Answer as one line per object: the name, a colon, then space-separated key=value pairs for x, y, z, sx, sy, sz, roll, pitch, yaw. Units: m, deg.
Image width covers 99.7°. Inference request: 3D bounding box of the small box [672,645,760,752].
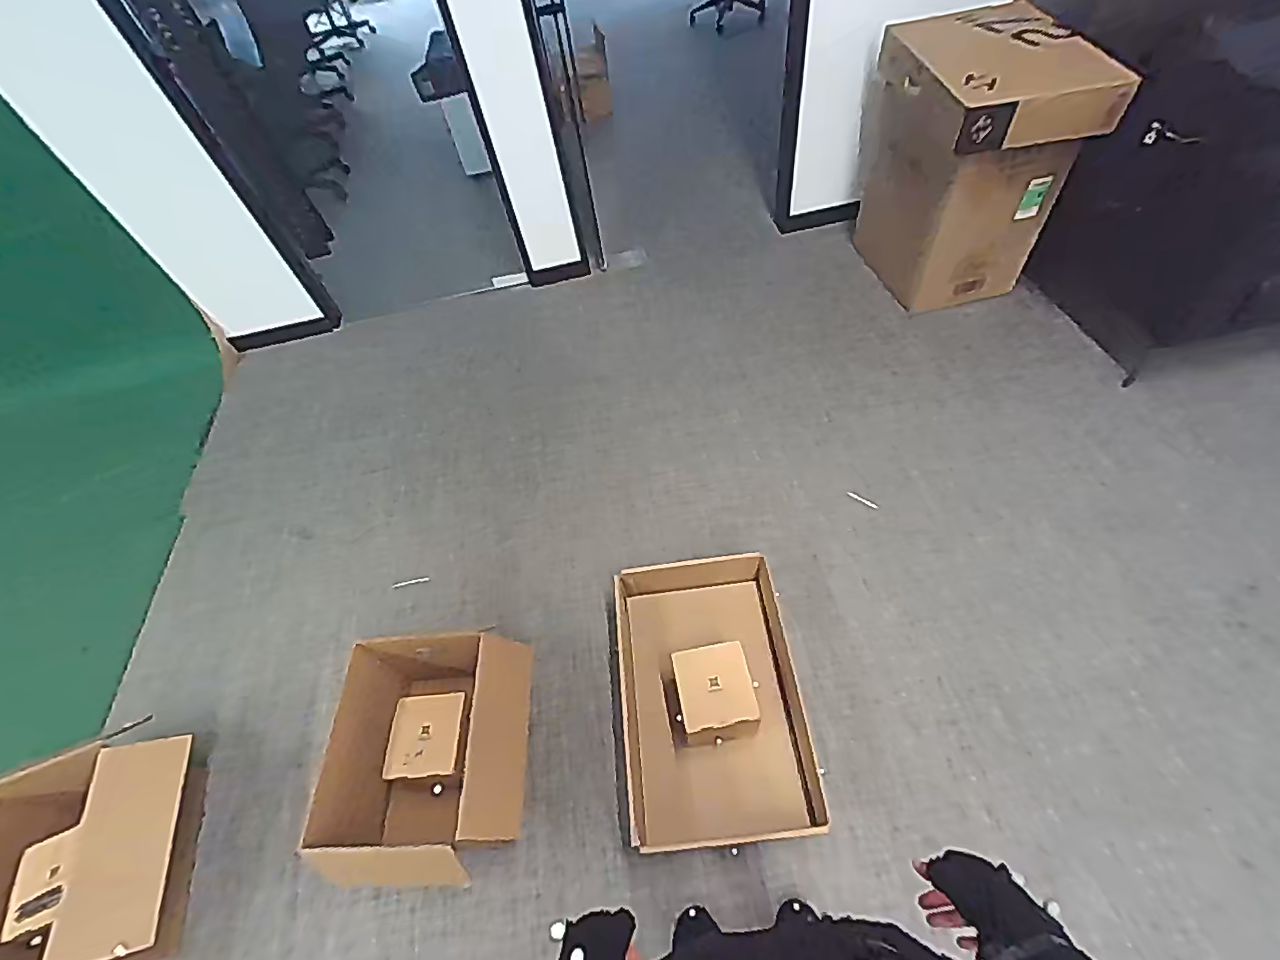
small box: x=0.171 y=0.510 z=1.256 sx=0.168 sy=0.176 sz=0.179 roll=-11 pitch=53 yaw=0
